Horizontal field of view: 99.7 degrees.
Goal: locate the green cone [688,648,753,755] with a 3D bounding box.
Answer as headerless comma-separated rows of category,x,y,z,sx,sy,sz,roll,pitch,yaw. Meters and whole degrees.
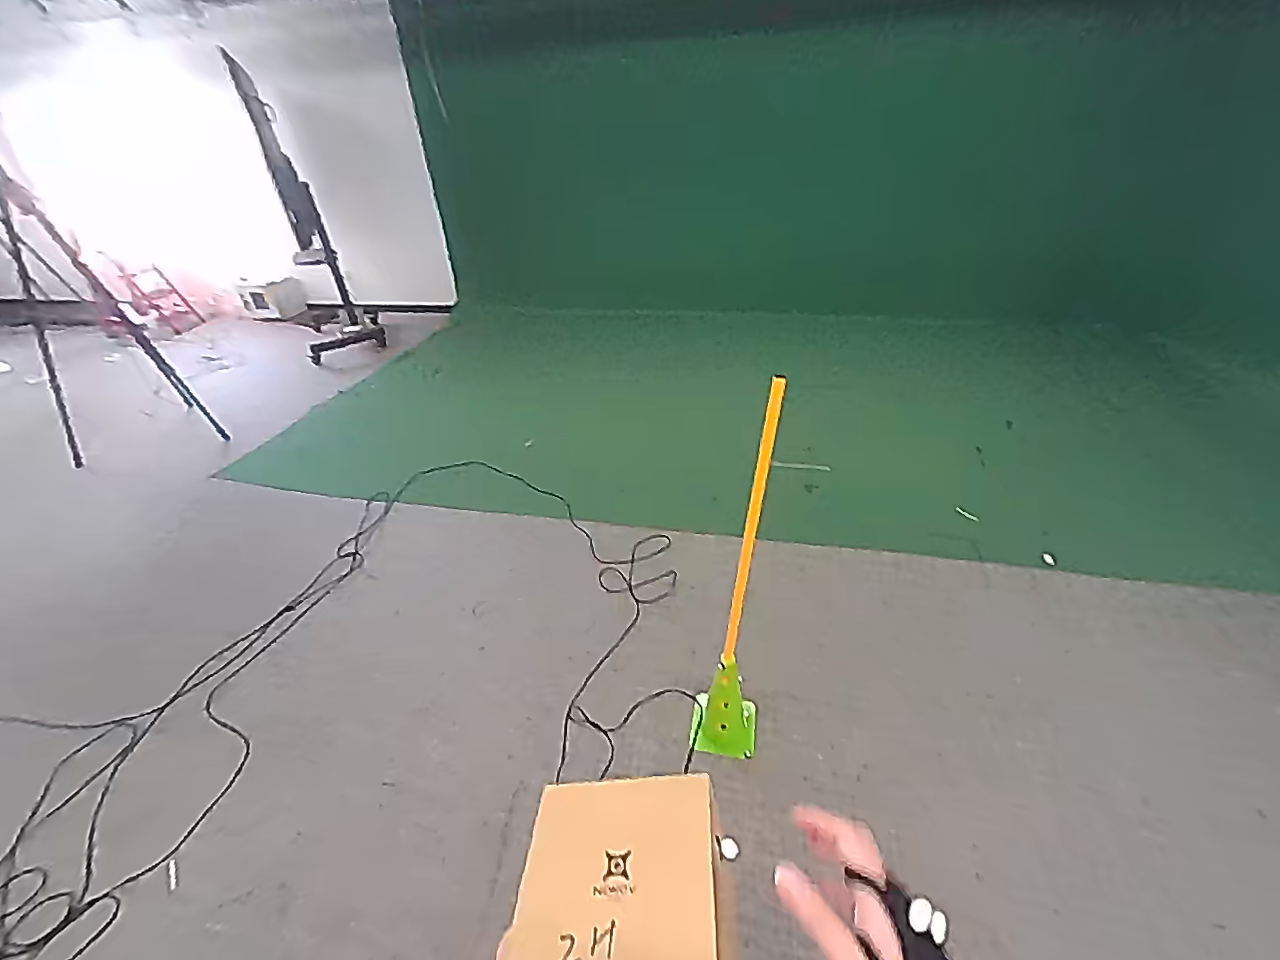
green cone,0.256,0.650,1.674,0.202,0.368,0.200,4,35,12

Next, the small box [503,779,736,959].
small box,-0.006,0.407,0.491,0.168,0.176,0.179,-8,26,9
